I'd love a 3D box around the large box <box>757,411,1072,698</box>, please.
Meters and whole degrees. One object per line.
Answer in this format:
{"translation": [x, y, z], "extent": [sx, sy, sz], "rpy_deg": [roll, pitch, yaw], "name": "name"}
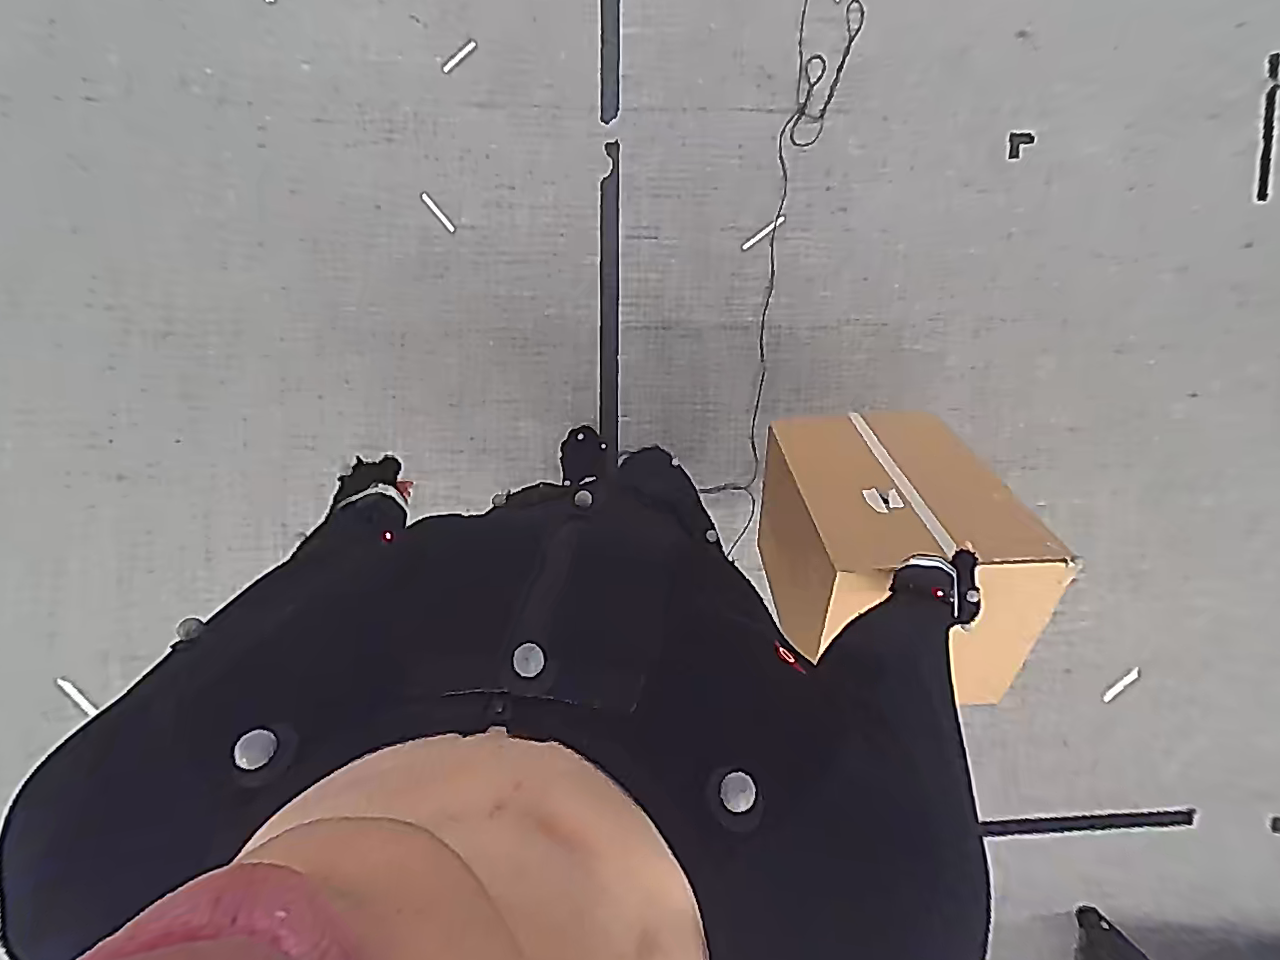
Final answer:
{"translation": [0.413, 0.114, 0.953], "extent": [0.320, 0.408, 0.320], "rpy_deg": [-4, 127, 0], "name": "large box"}
